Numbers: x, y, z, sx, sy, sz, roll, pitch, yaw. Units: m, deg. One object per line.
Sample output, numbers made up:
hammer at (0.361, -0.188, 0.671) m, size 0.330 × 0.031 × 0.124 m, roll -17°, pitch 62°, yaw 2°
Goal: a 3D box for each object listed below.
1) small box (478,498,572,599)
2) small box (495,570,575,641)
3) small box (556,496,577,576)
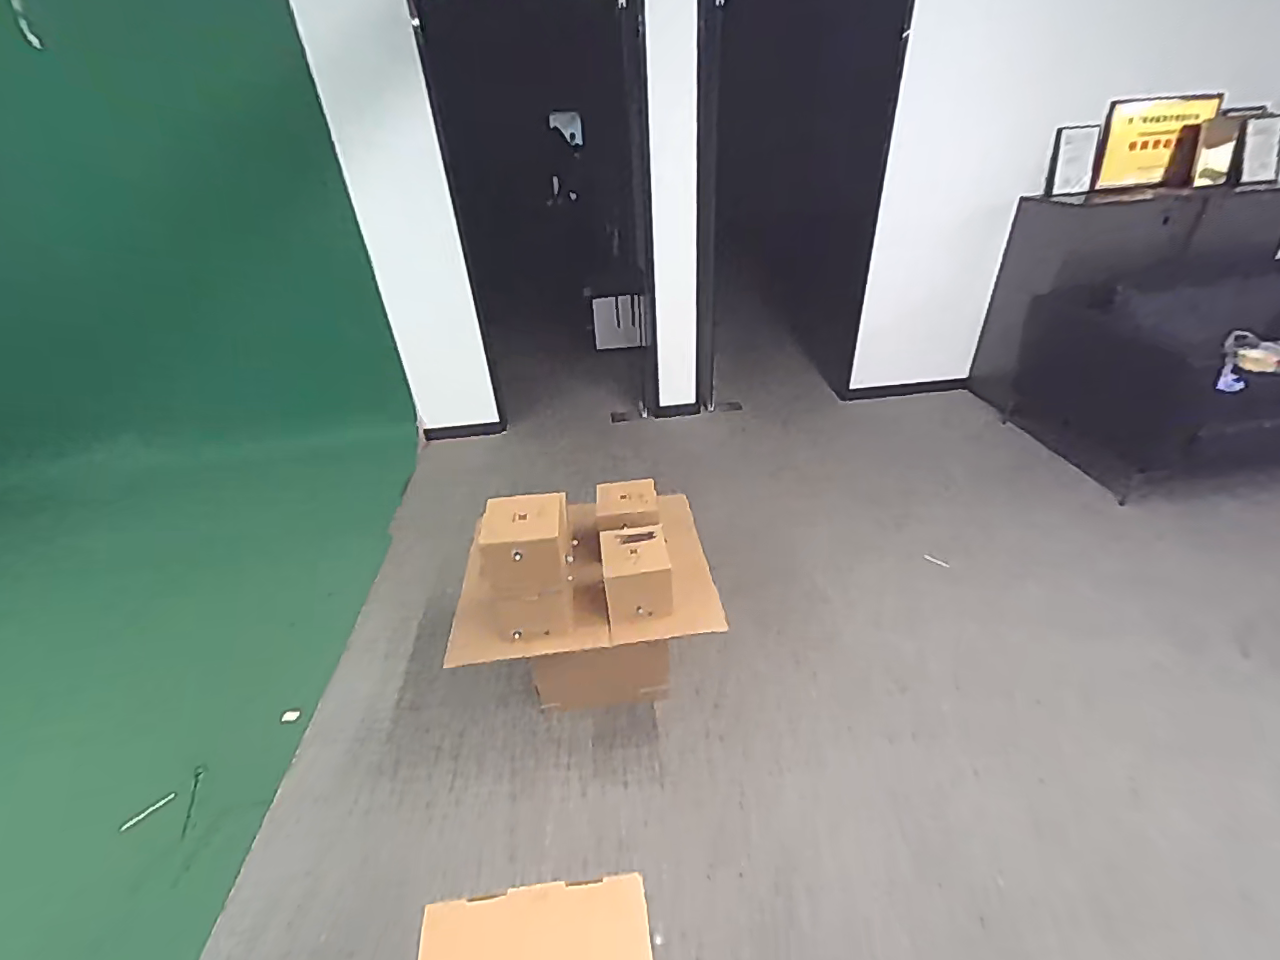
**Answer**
small box at (-0.261, 0.161, 1.263) m, size 0.179 × 0.176 × 0.168 m, roll -5°, pitch 34°, yaw -2°
small box at (-0.257, 0.289, 1.365) m, size 0.168 × 0.176 × 0.179 m, roll -6°, pitch 32°, yaw -2°
small box at (-0.277, 0.169, 1.552) m, size 0.168 × 0.176 × 0.179 m, roll -8°, pitch 32°, yaw -3°
